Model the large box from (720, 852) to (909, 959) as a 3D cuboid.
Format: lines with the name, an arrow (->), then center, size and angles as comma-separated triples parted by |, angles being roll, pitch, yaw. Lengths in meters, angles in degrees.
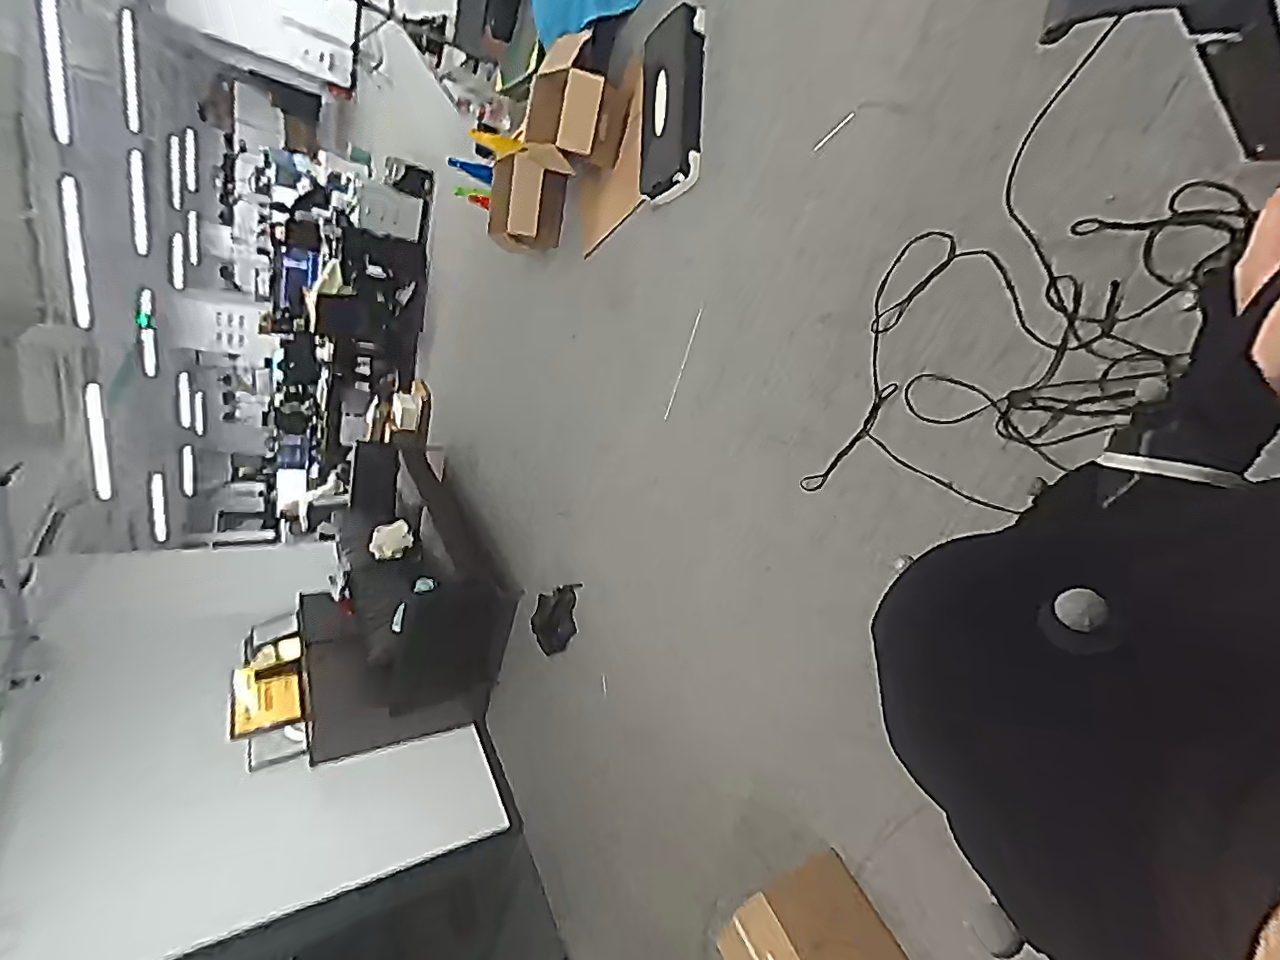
large box -> 0.495, 1.326, 1.446 | 0.408, 0.320, 0.320 | 52, 129, 43
